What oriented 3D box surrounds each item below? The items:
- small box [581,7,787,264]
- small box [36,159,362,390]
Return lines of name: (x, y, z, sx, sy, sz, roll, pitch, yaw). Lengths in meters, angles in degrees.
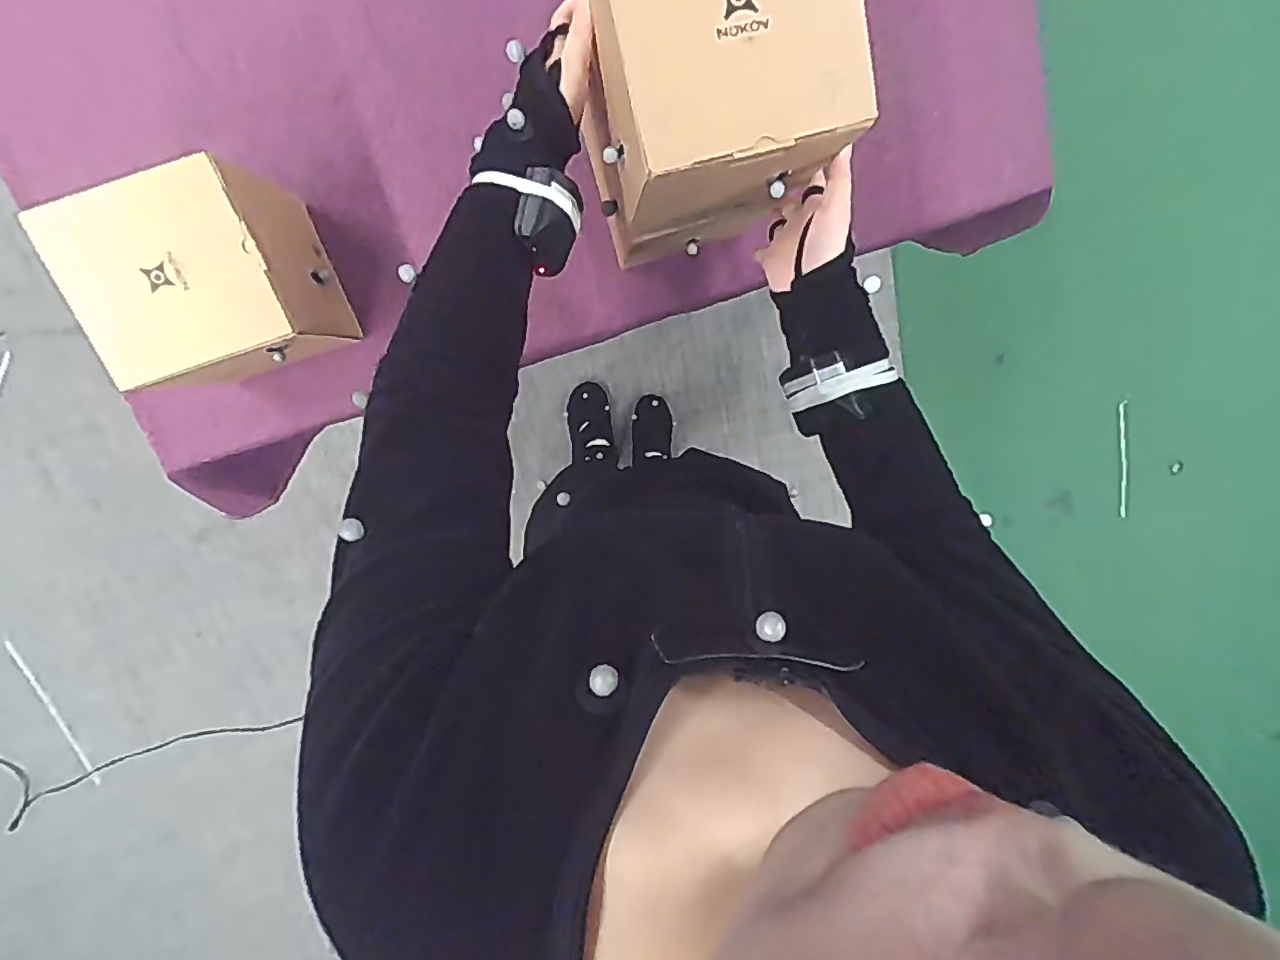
small box: (0.040, -0.348, 0.590, 0.168, 0.176, 0.179, -17, 103, -2)
small box: (-0.441, -0.202, 0.579, 0.179, 0.176, 0.168, -20, 103, -2)
